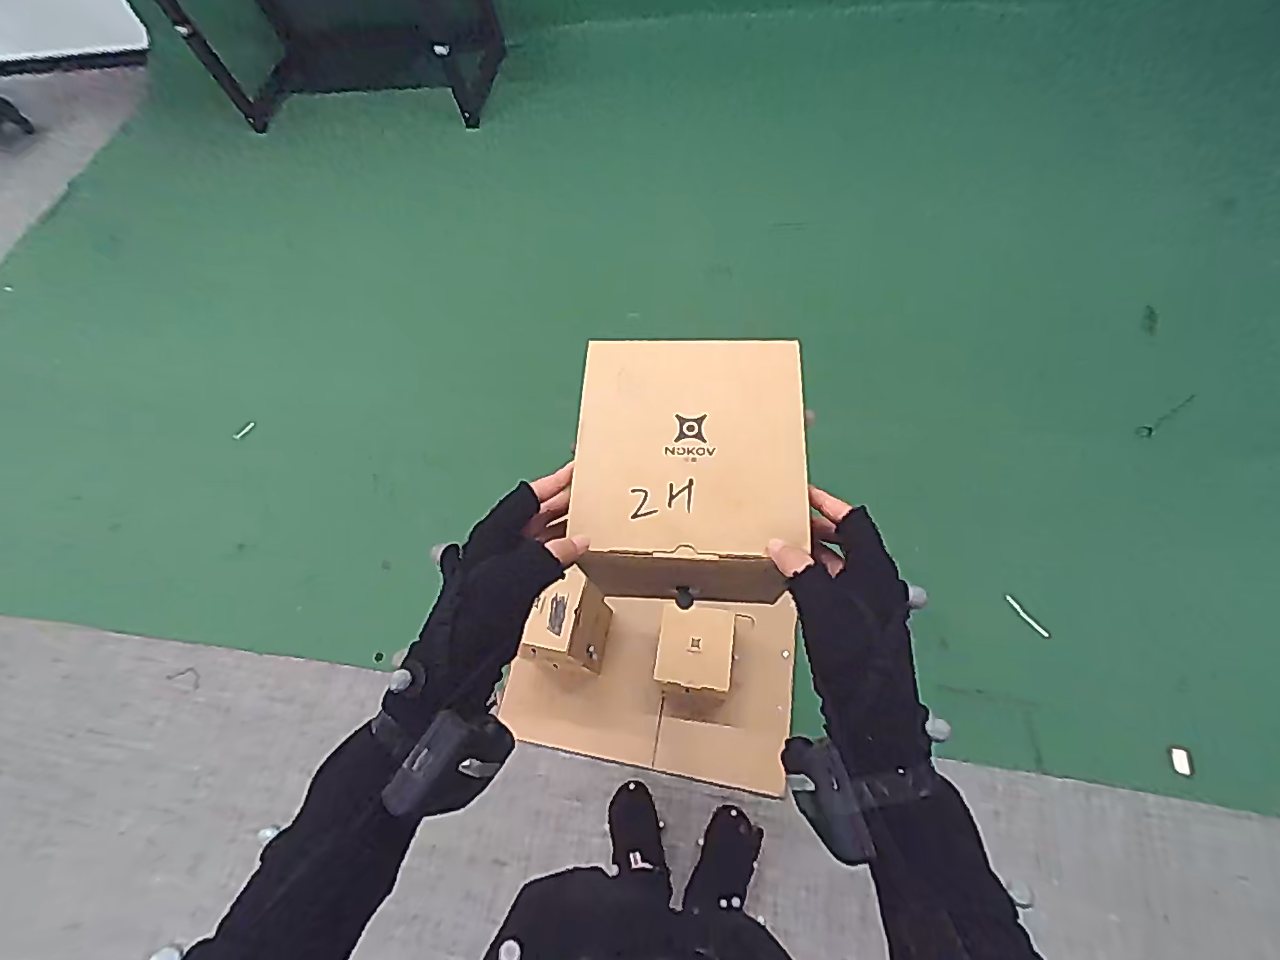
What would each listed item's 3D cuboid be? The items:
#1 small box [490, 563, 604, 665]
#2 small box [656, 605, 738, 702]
[{"bbox_3d":[-0.190,0.295,1.171,0.179,0.176,0.168,8,65,15],"label":"small box"},{"bbox_3d":[0.135,0.406,1.257,0.168,0.176,0.179,5,65,11],"label":"small box"}]
